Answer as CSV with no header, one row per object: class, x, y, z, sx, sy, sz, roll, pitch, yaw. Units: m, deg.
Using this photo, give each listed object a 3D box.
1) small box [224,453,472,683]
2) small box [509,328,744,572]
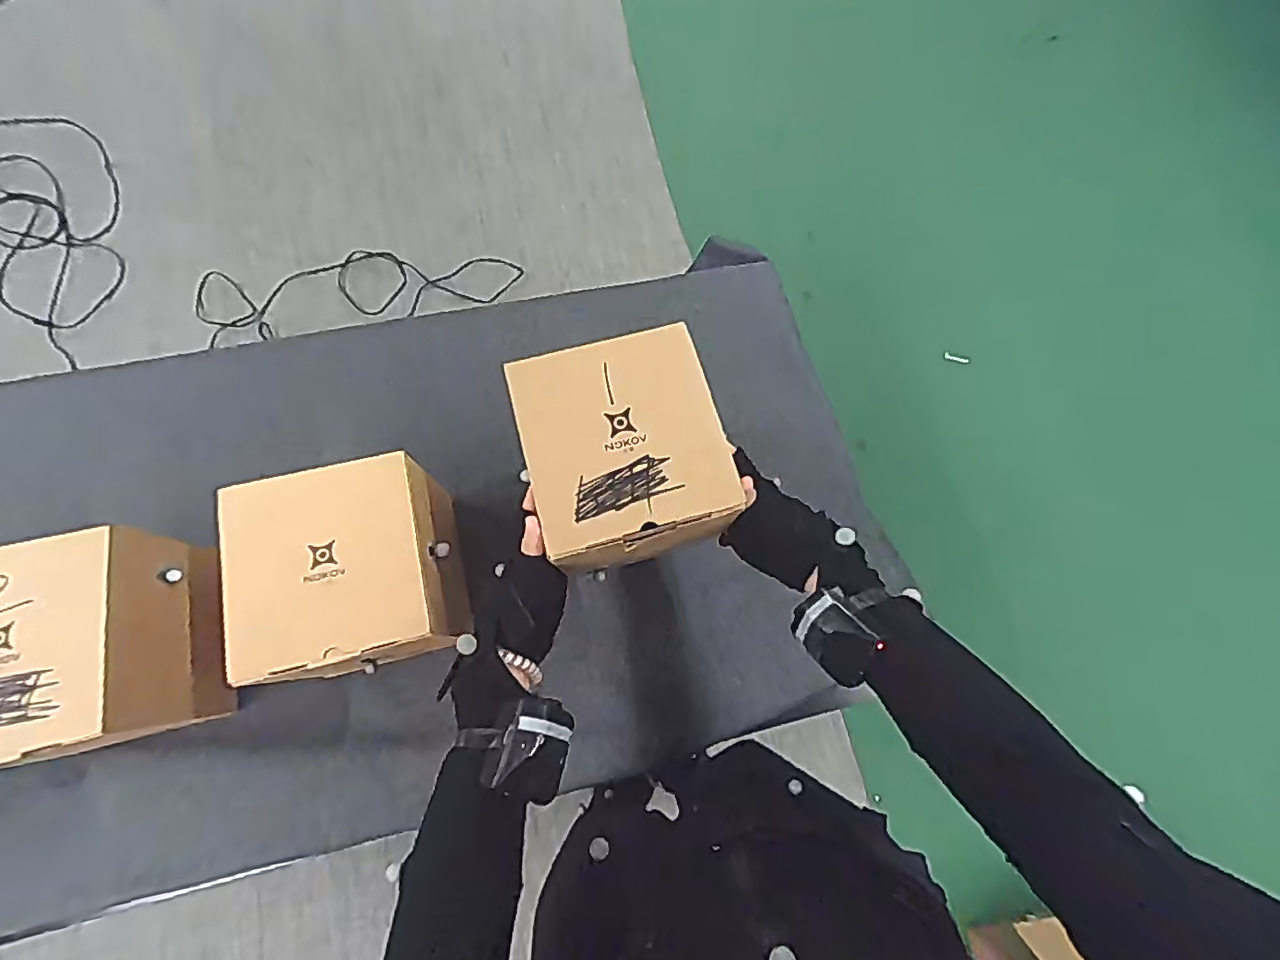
small box,-0.281,0.093,0.551,0.168,0.176,0.179,-13,76,-9
small box,-0.015,-0.014,0.527,0.168,0.176,0.179,-14,74,-6
